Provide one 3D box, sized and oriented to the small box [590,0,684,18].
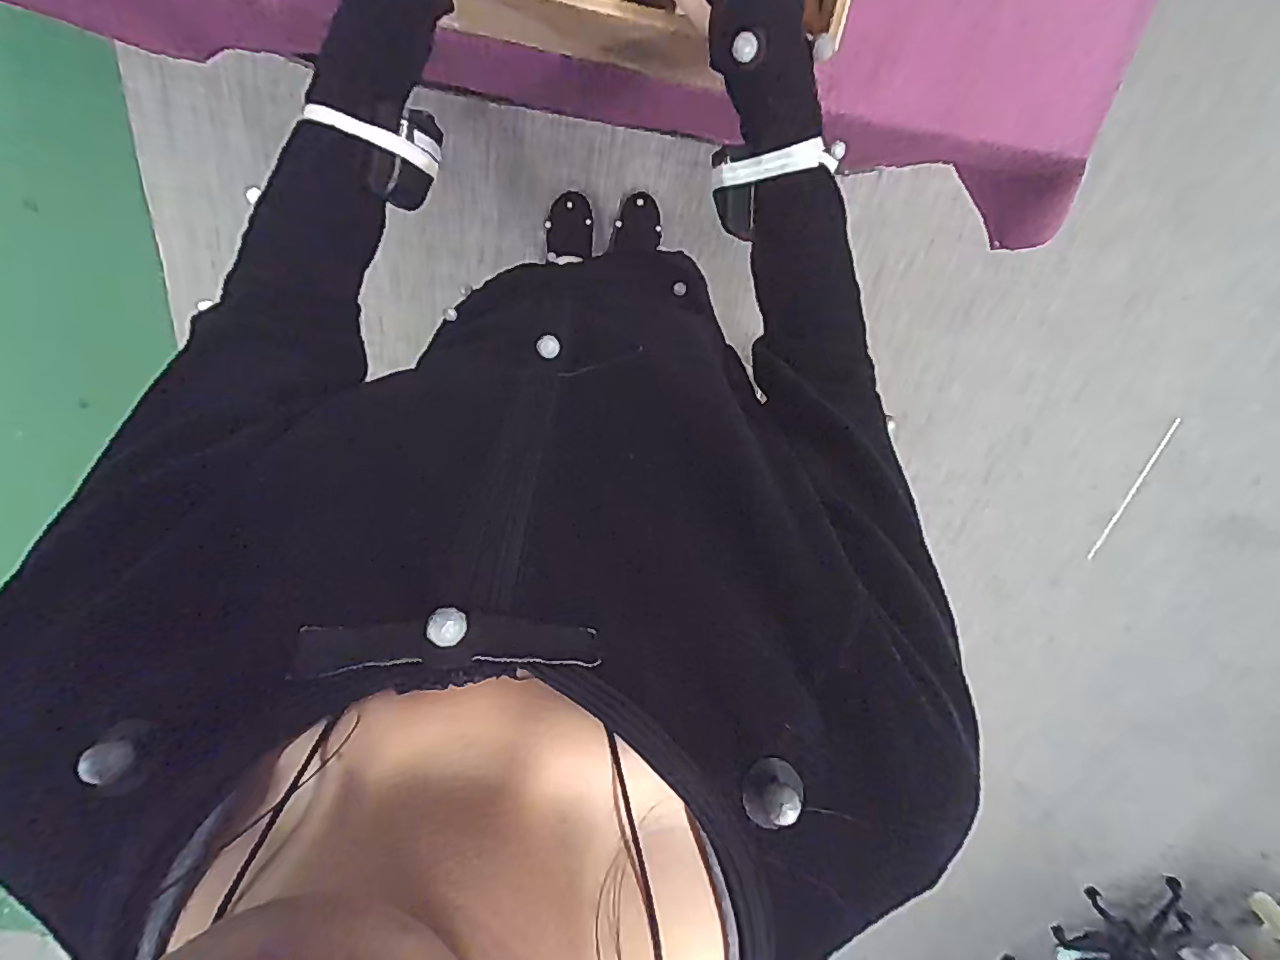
[{"bbox_3d":[-0.025,-0.490,0.400,0.168,0.176,0.179,9,117,-5],"label":"small box"}]
